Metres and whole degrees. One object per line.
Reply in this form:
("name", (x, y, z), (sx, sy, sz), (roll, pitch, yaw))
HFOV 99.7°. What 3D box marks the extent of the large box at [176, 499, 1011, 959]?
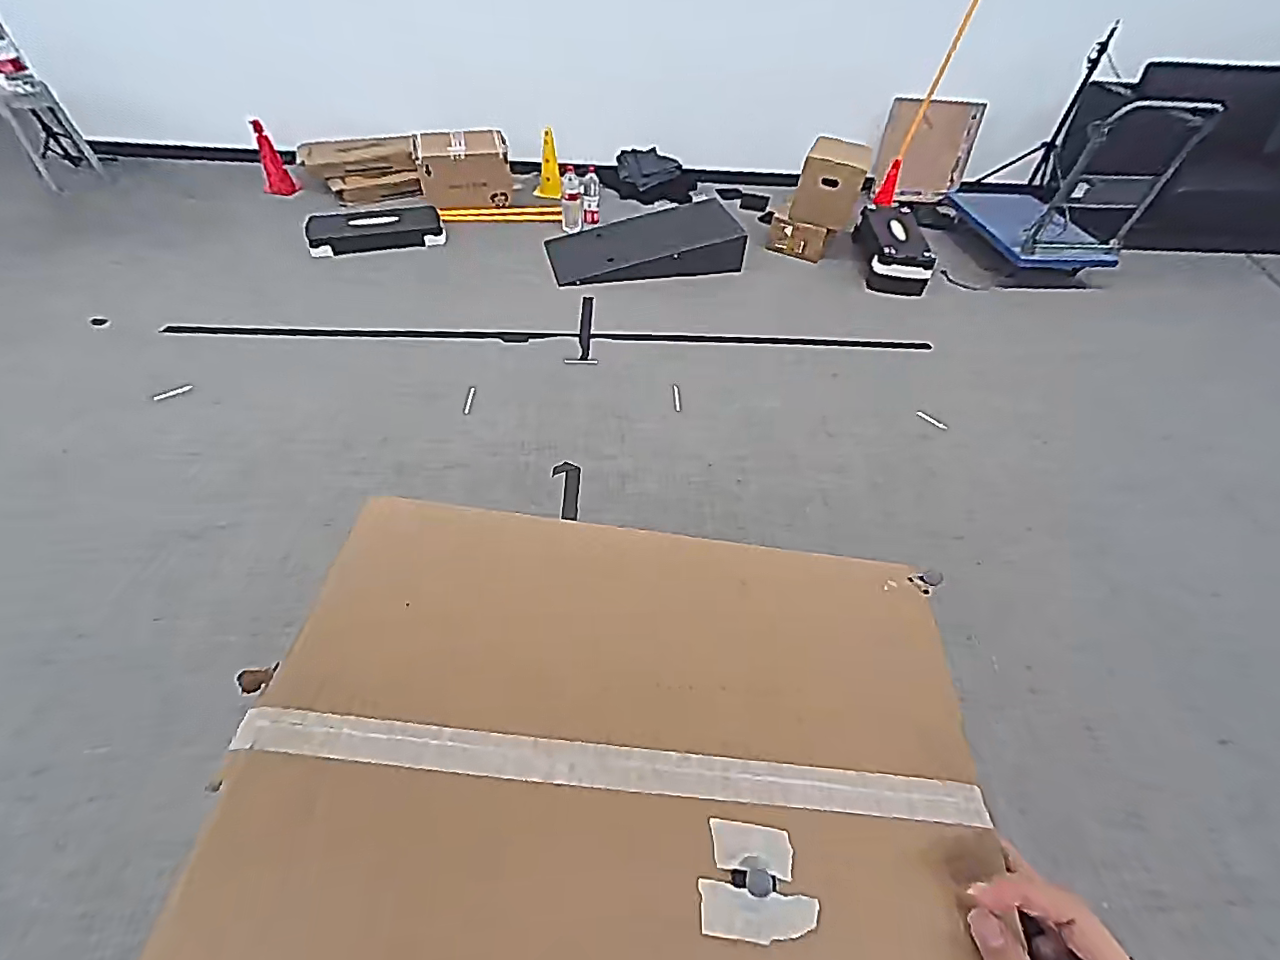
("large box", (-0.022, 0.249, 0.429), (0.408, 0.320, 0.320), (9, 52, -3))
